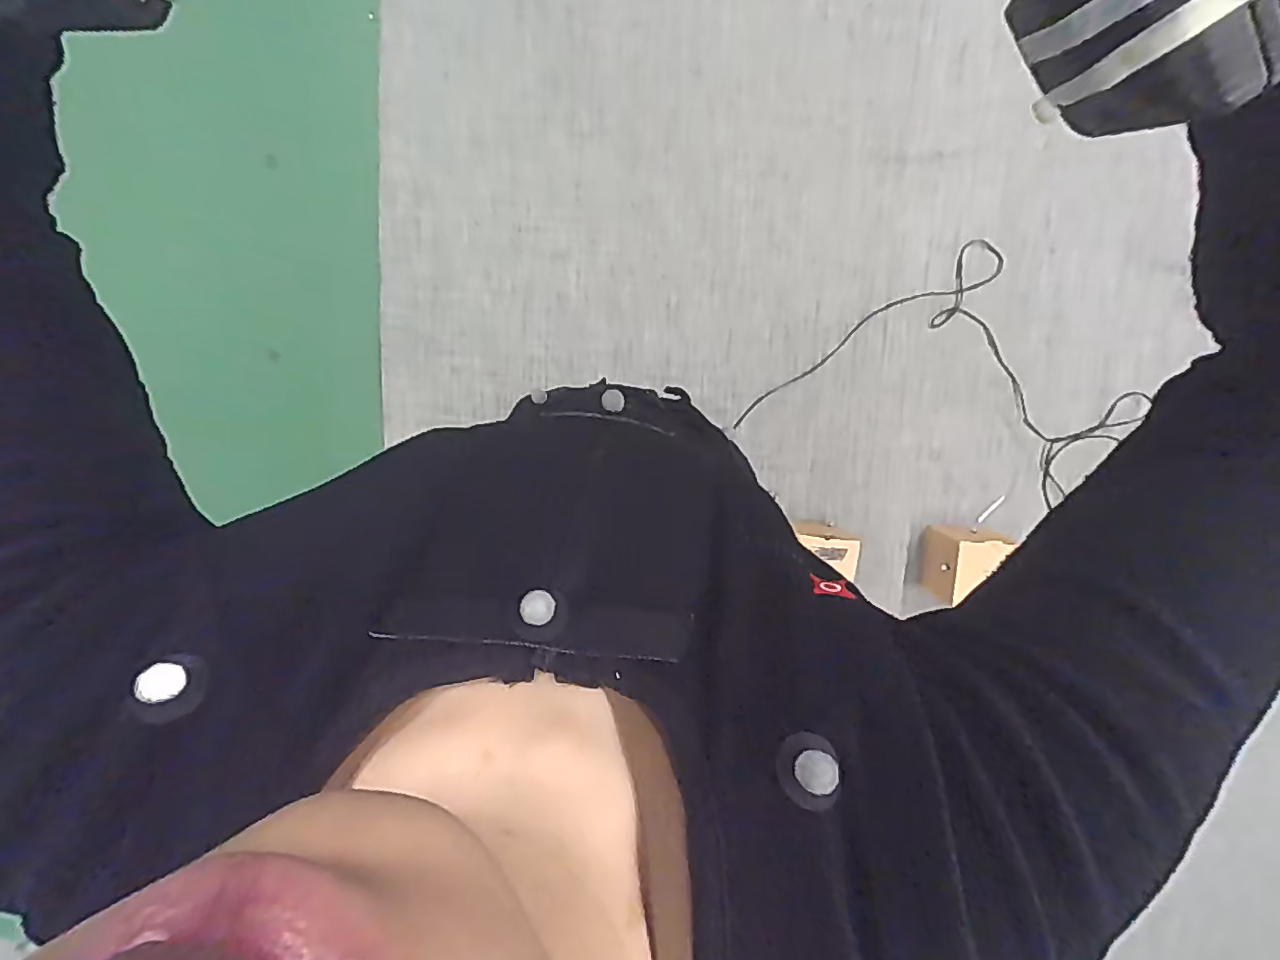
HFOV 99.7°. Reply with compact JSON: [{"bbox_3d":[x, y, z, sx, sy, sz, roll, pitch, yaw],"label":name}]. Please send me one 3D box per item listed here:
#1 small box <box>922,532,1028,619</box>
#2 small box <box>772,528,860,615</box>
[{"bbox_3d":[0.851,0.242,1.391,0.168,0.176,0.179,2,96,2],"label":"small box"},{"bbox_3d":[0.448,0.229,1.404,0.168,0.176,0.179,7,97,1],"label":"small box"}]
